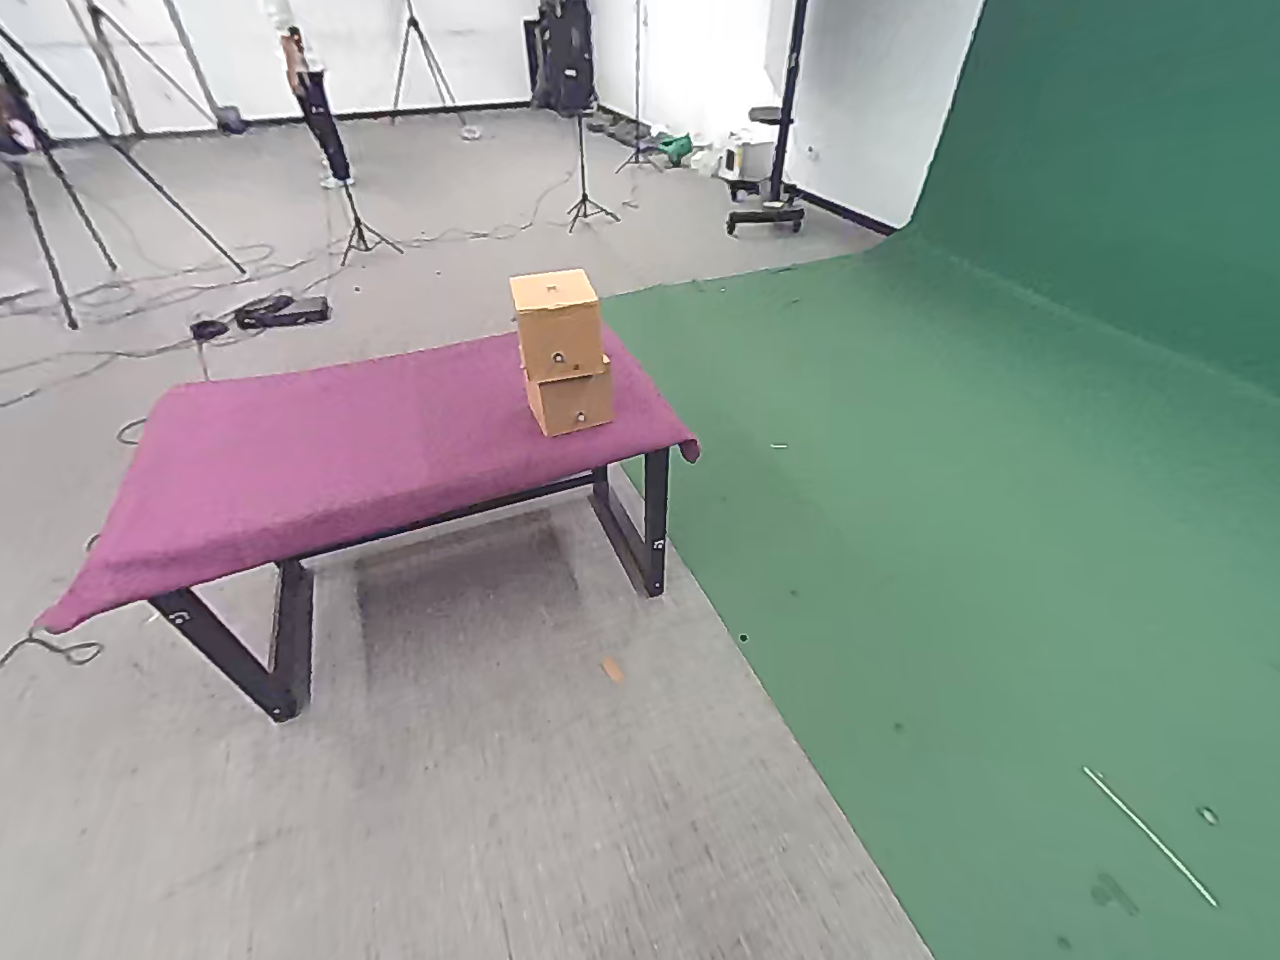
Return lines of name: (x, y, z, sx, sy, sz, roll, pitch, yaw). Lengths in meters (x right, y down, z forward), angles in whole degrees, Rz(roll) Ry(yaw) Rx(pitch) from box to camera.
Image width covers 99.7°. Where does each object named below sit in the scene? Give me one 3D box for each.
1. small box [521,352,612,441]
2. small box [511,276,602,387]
small box: (-0.174, -0.219, 1.310, 0.179, 0.176, 0.168, -17, 43, -17)
small box: (-0.182, -0.326, 1.185, 0.168, 0.176, 0.179, -12, 43, -11)
